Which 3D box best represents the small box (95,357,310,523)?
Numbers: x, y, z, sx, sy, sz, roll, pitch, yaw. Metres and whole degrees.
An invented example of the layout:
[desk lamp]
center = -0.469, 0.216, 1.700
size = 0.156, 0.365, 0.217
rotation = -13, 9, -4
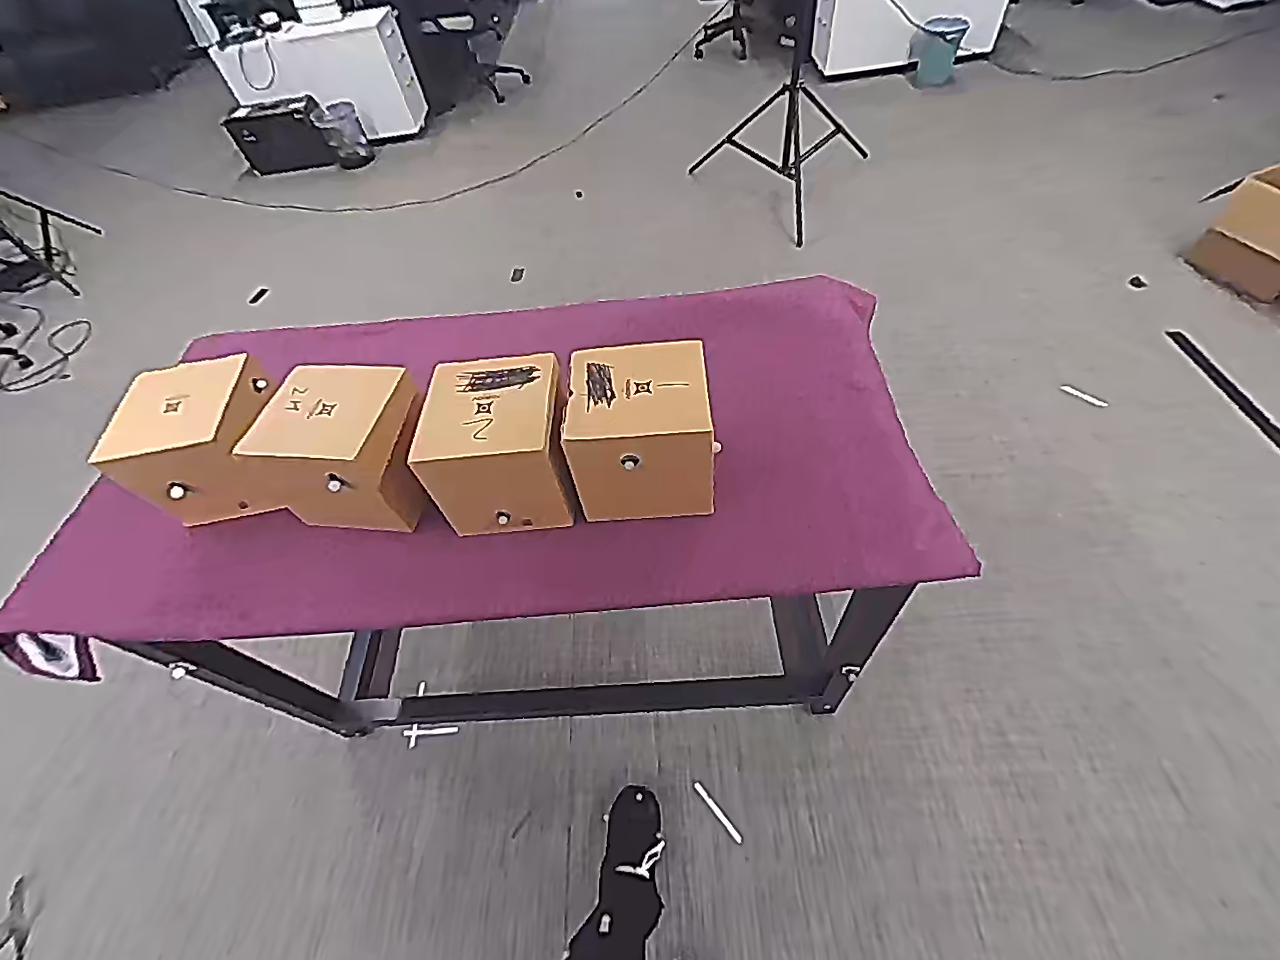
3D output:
[small box]
center = -0.634, -0.051, 0.814
size = 0.168, 0.176, 0.179
rotation = -12, 53, -1
